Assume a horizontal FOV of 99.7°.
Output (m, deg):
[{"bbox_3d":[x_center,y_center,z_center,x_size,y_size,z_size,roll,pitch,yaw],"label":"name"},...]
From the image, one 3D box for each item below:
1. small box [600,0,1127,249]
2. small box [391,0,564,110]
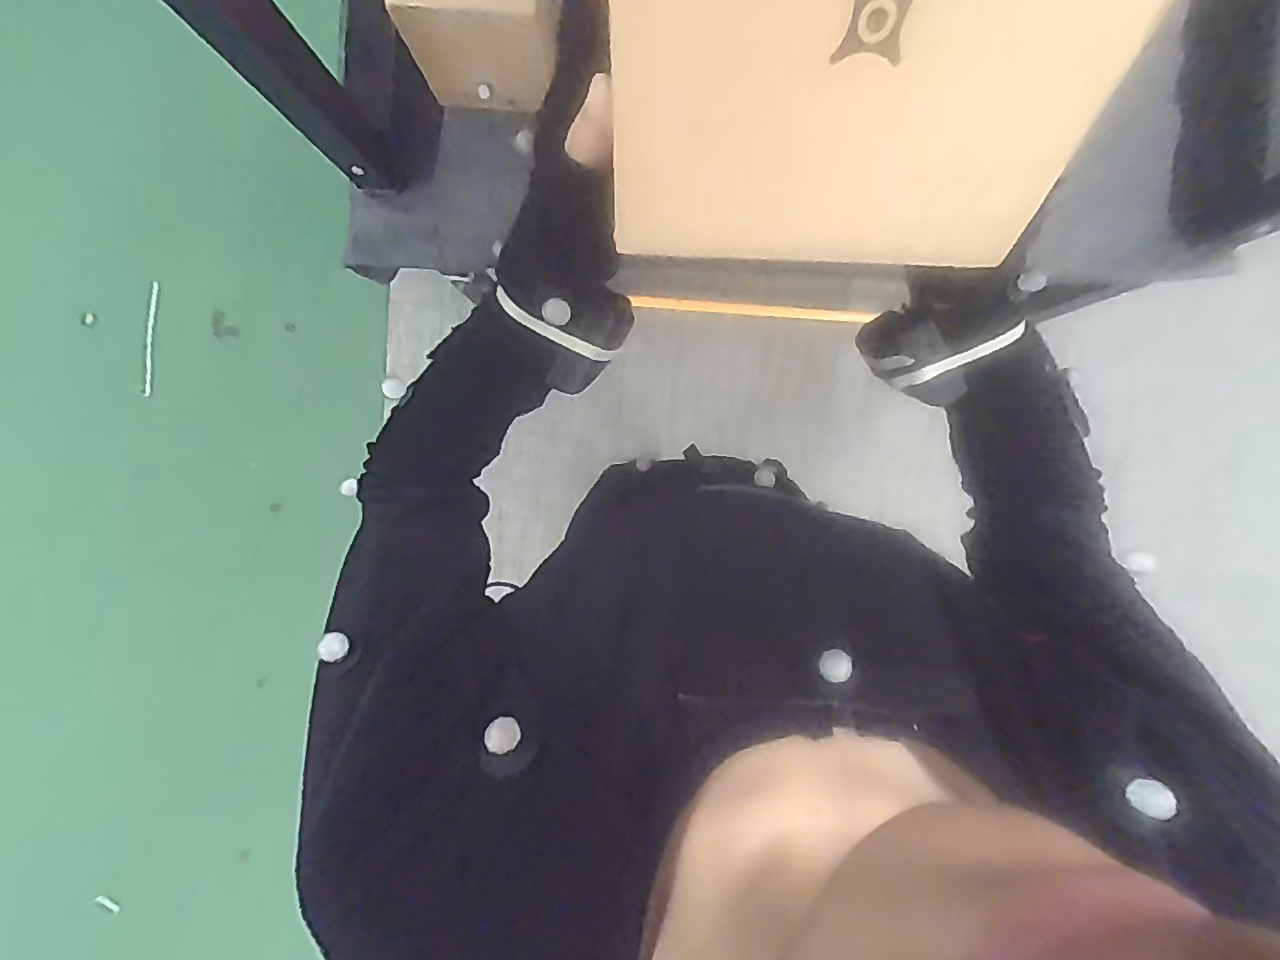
[{"bbox_3d":[0.073,-0.221,0.212,0.168,0.179,0.176,3,56,1],"label":"small box"},{"bbox_3d":[-0.189,-0.599,0.660,0.168,0.176,0.179,4,92,0],"label":"small box"}]
